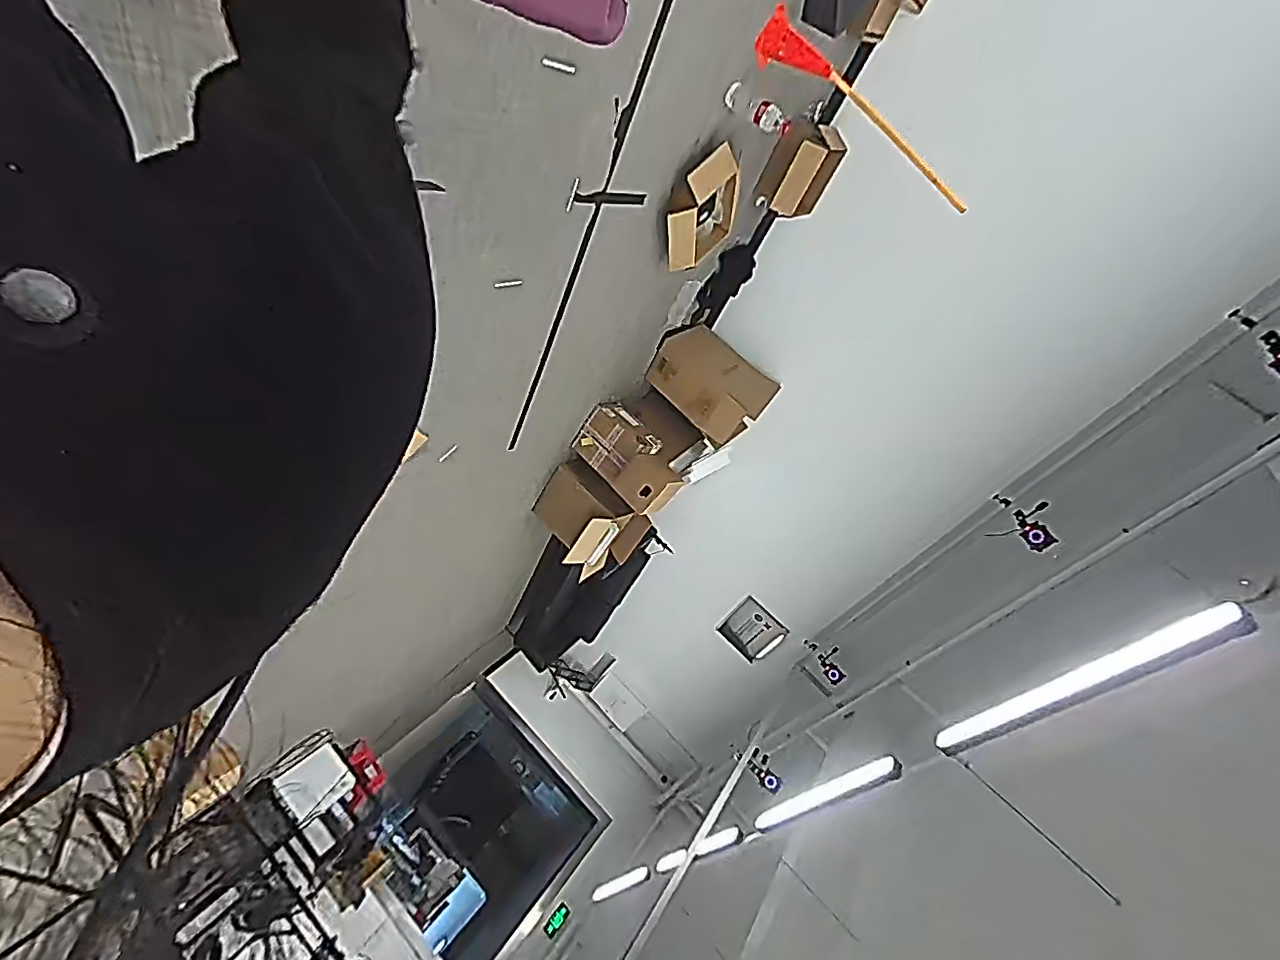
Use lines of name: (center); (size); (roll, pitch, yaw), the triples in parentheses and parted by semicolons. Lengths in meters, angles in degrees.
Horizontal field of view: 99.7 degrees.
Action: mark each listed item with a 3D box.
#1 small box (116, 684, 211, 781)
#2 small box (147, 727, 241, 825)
small box: (-1.453, 0.766, 1.650); (0.179, 0.176, 0.168); (-33, 162, -51)
small box: (-1.340, 0.883, 1.624); (0.168, 0.176, 0.179); (-31, 160, -53)
